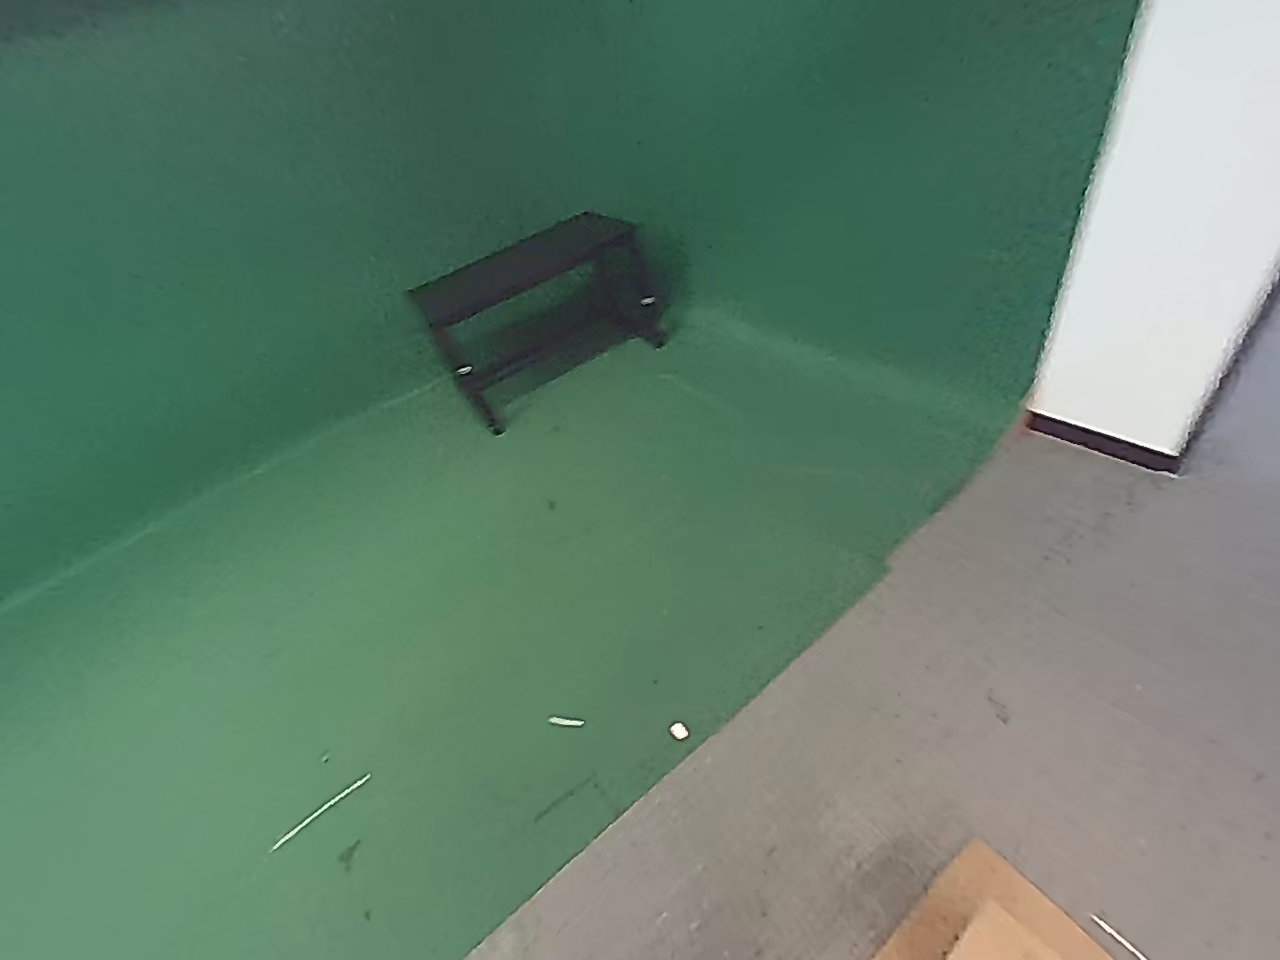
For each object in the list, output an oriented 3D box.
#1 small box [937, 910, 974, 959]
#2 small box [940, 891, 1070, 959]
[{"bbox_3d":[0.667,0.986,1.038,0.179,0.176,0.168,-40,45,-22],"label":"small box"},{"bbox_3d":[0.628,0.869,0.930,0.179,0.176,0.168,-36,44,-20],"label":"small box"}]
